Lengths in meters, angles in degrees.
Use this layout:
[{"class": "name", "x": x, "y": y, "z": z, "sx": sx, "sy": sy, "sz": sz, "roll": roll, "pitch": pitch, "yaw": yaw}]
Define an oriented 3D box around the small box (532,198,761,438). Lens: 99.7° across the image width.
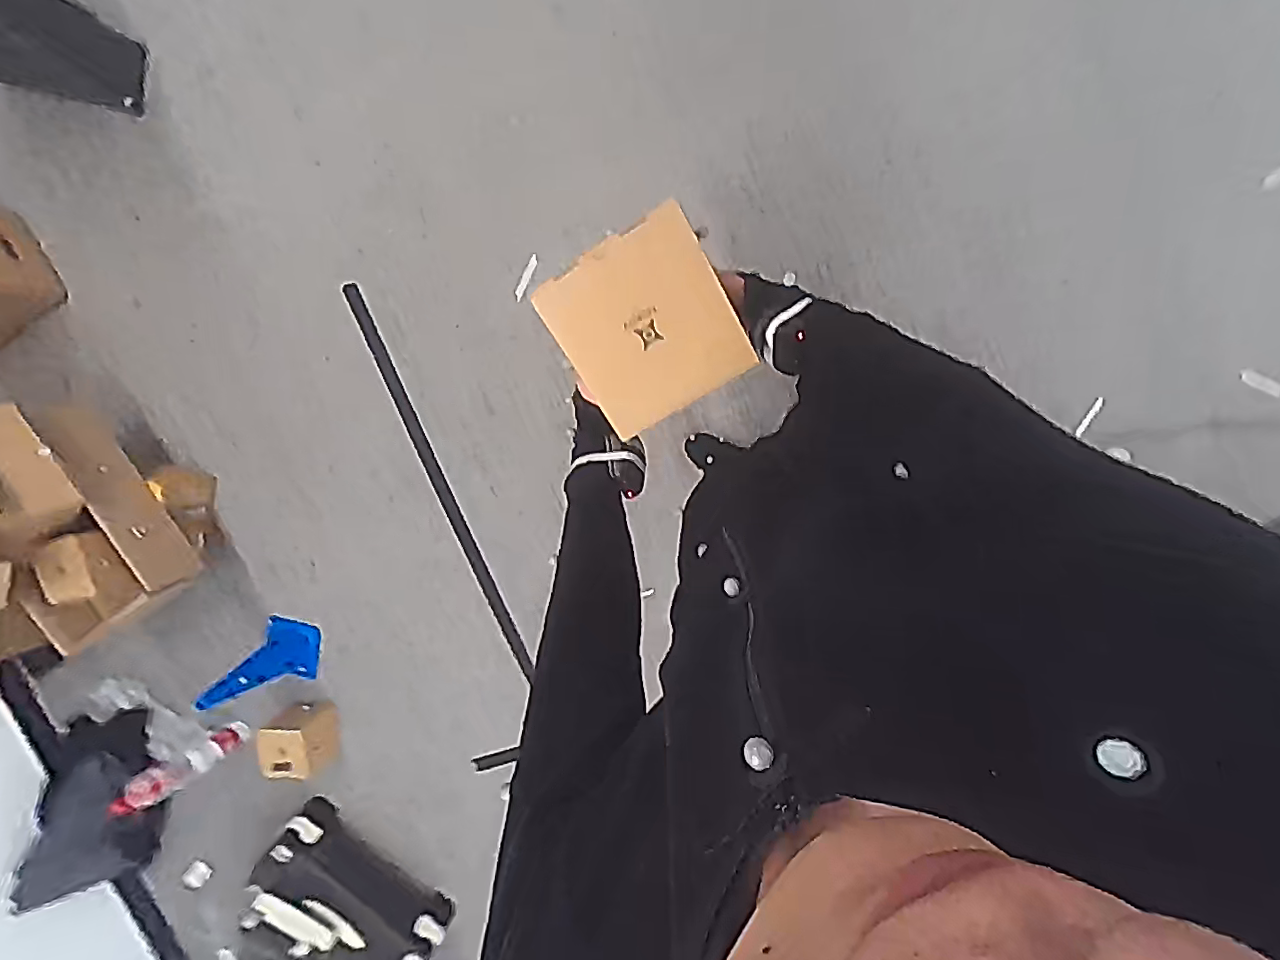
[{"class": "small box", "x": 0.010, "y": -0.178, "z": 0.595, "sx": 0.168, "sy": 0.176, "sz": 0.179, "roll": -29, "pitch": 109, "yaw": 11}]
